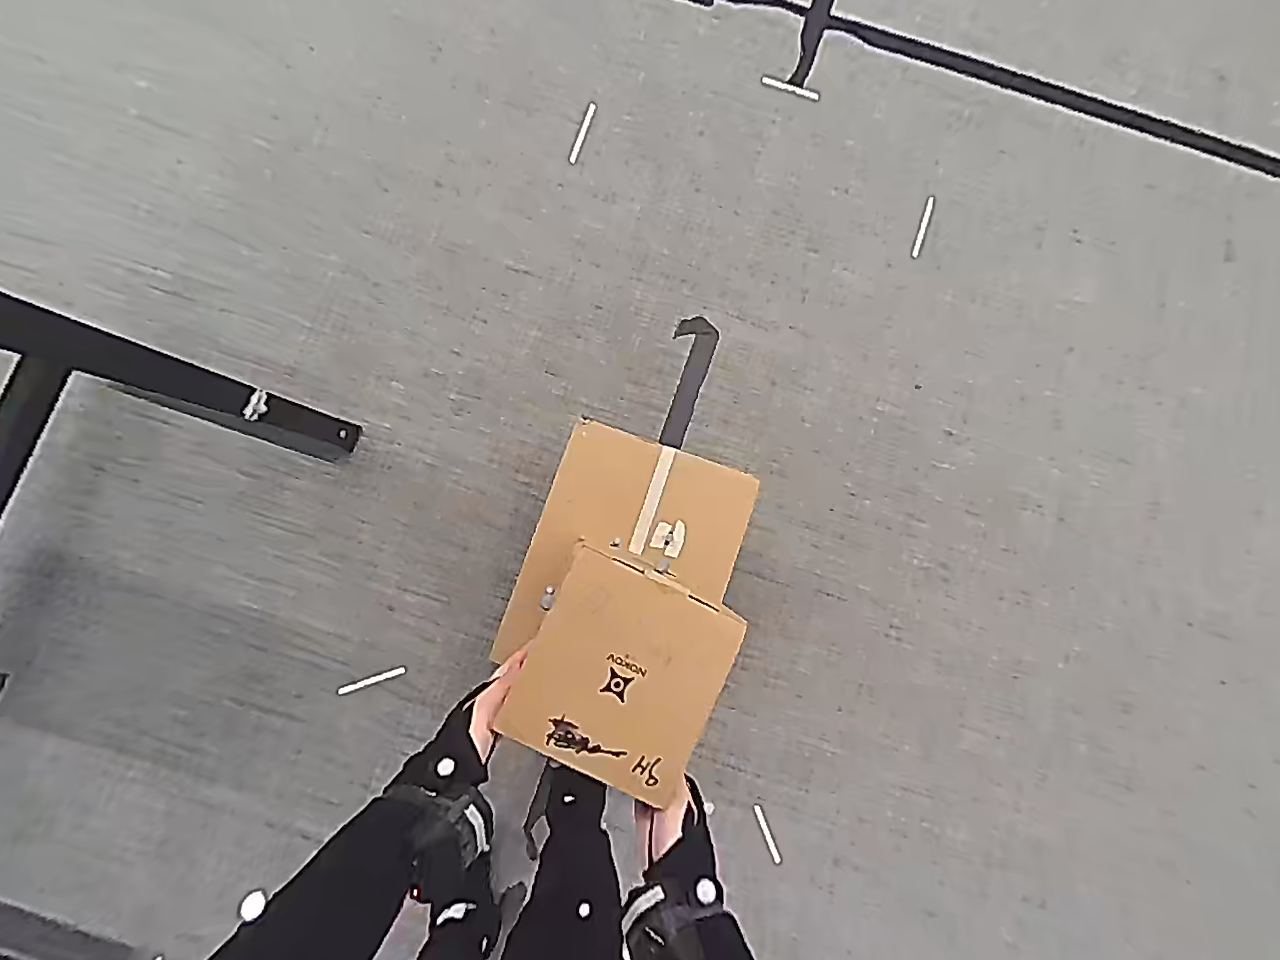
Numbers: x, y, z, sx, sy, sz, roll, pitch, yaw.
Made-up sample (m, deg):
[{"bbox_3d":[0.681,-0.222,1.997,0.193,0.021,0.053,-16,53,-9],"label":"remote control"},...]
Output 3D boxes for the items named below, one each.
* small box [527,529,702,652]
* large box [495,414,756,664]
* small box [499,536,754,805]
[{"bbox_3d":[-0.032,0.179,0.740,0.168,0.176,0.179,23,85,2],"label":"small box"},{"bbox_3d":[-0.022,0.145,0.990,0.320,0.320,0.408,20,83,-1],"label":"large box"},{"bbox_3d":[-0.015,0.166,0.537,0.168,0.176,0.179,27,84,-1],"label":"small box"}]
